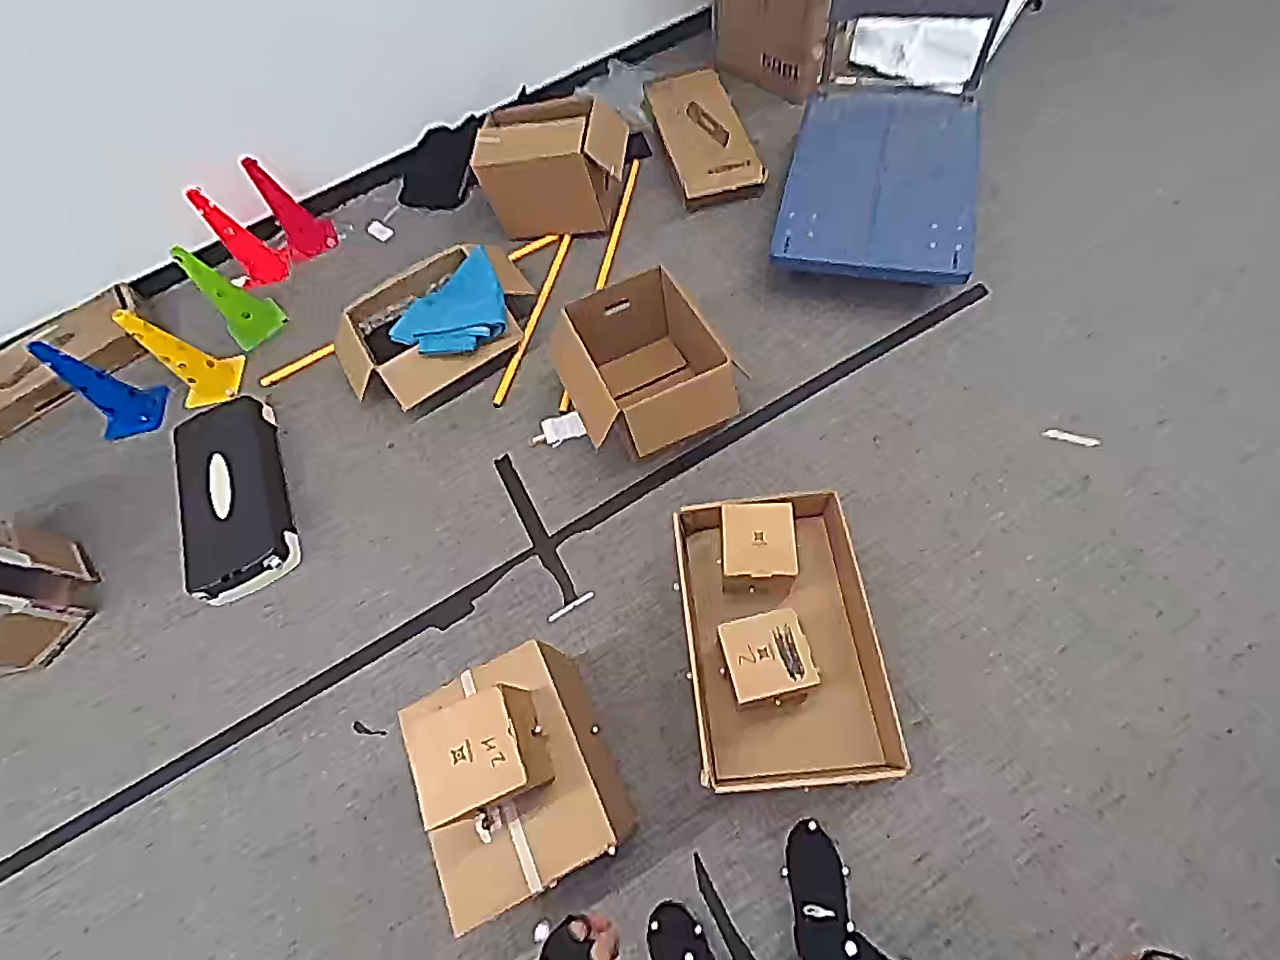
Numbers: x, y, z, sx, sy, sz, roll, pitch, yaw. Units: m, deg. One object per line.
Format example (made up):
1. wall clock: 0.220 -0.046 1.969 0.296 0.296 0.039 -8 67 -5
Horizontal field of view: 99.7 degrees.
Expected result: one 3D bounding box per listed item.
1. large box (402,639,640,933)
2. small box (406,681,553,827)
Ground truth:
1. large box: -0.238 0.611 1.150 0.320 0.320 0.408 -29 65 -5
2. small box: -0.274 0.474 0.945 0.179 0.176 0.168 -24 64 -4
